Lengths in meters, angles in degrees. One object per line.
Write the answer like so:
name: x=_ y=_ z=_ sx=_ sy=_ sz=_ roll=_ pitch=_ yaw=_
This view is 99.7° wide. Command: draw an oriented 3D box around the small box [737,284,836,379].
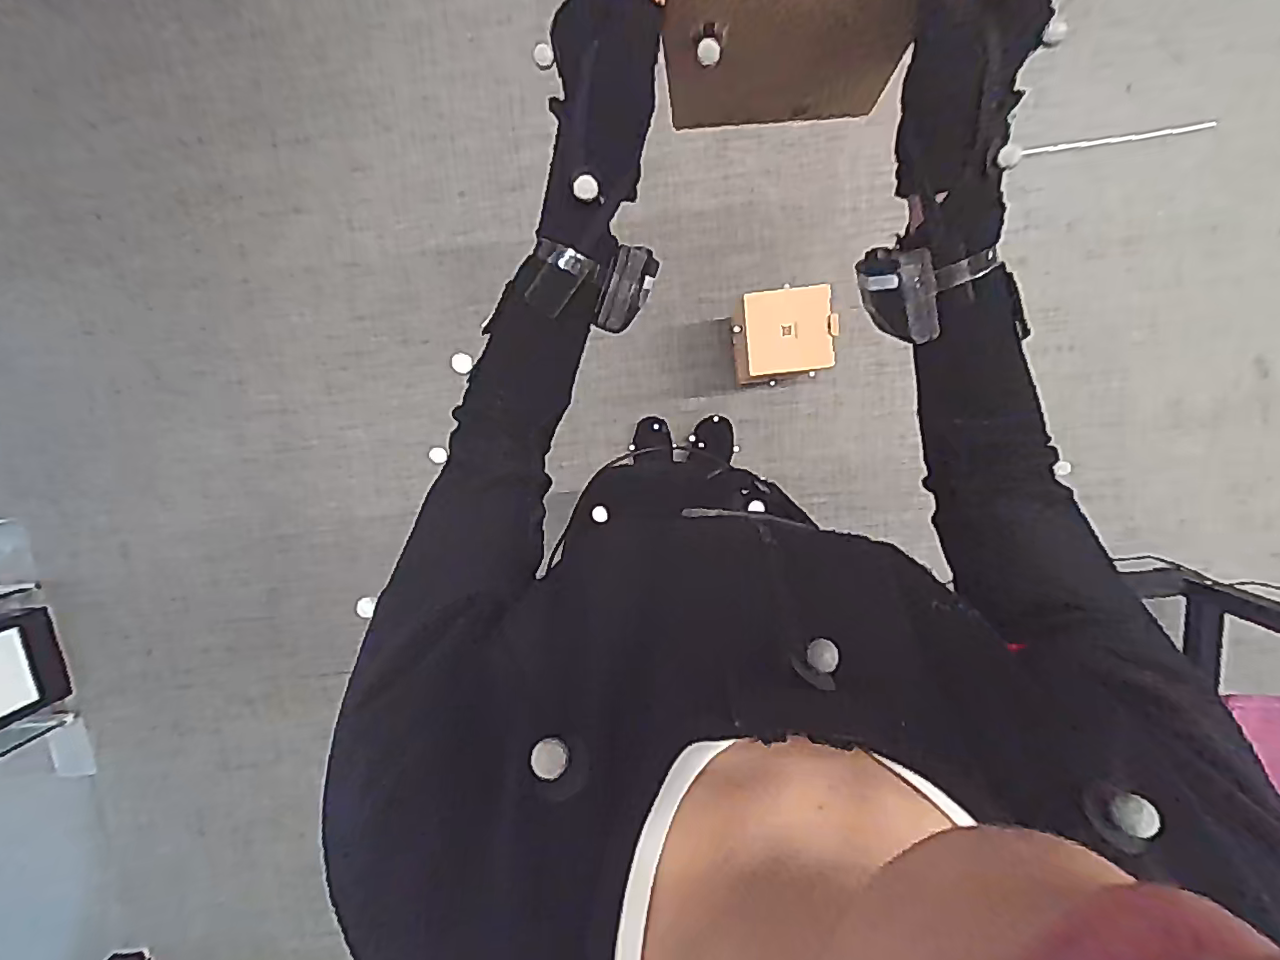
small box: x=0.307 y=-0.312 z=1.168 sx=0.179 sy=0.176 sz=0.168 roll=-6 pitch=98 yaw=3
